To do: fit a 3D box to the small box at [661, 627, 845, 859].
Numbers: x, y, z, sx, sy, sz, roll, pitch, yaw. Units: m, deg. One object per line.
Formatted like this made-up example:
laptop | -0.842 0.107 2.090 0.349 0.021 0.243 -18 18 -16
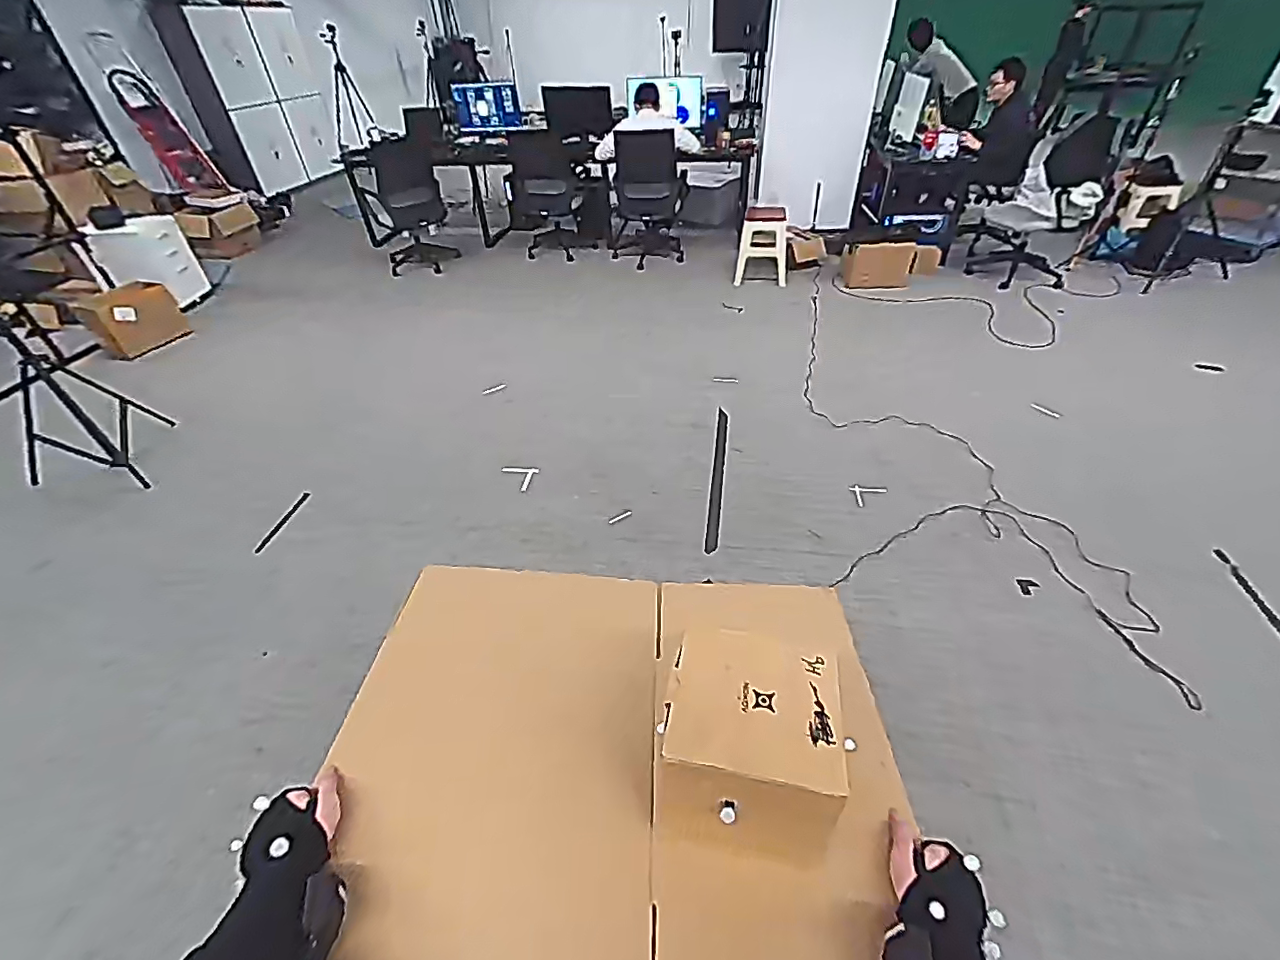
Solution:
small box | 0.124 0.297 0.619 0.179 0.176 0.168 6 36 11
